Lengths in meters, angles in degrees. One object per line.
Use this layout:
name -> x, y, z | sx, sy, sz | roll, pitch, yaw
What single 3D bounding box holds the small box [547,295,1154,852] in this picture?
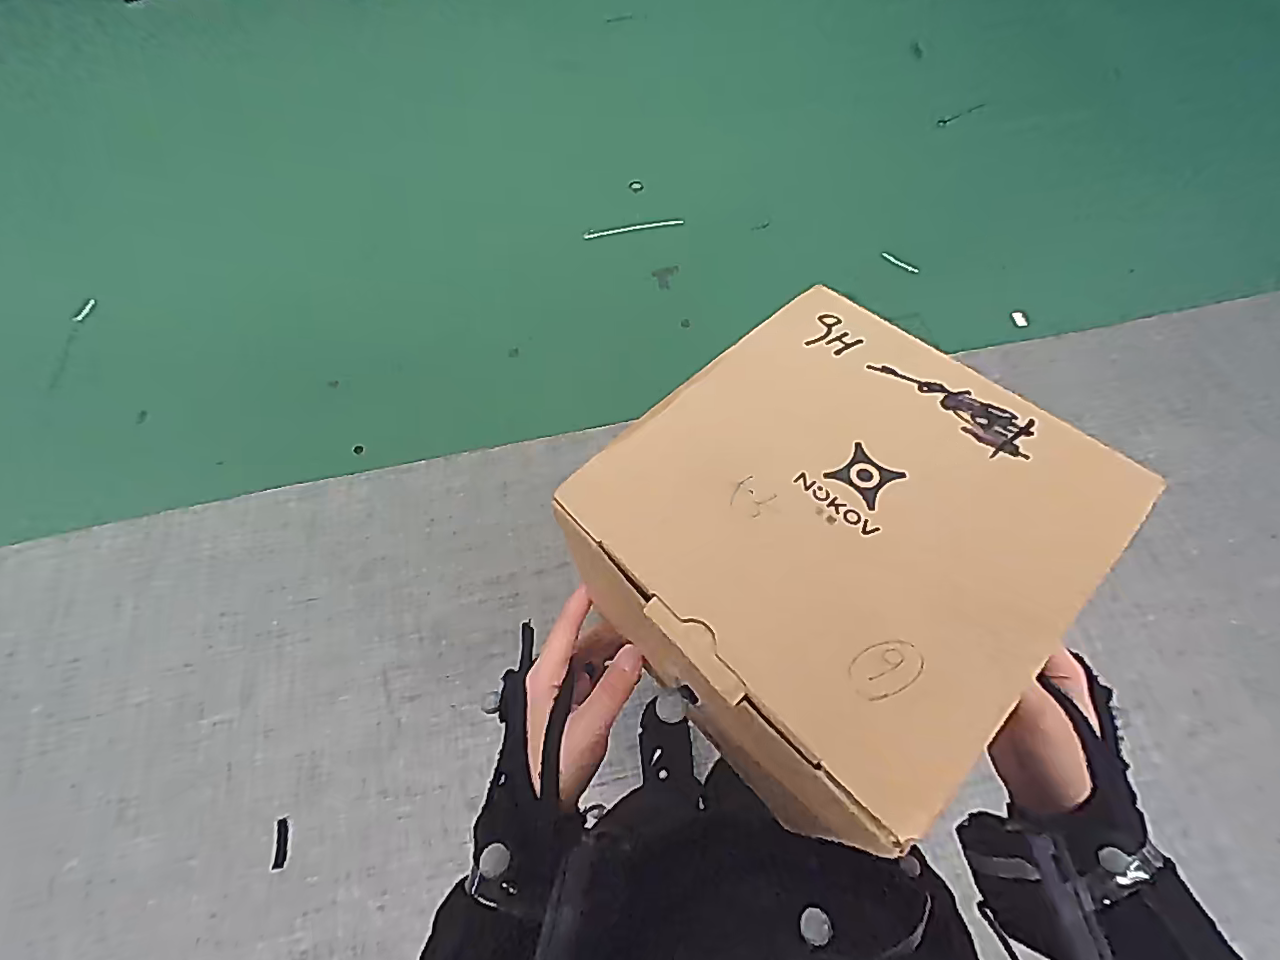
small box -> 0.084, 0.049, 0.280 | 0.179, 0.176, 0.168 | -40, 64, -17
